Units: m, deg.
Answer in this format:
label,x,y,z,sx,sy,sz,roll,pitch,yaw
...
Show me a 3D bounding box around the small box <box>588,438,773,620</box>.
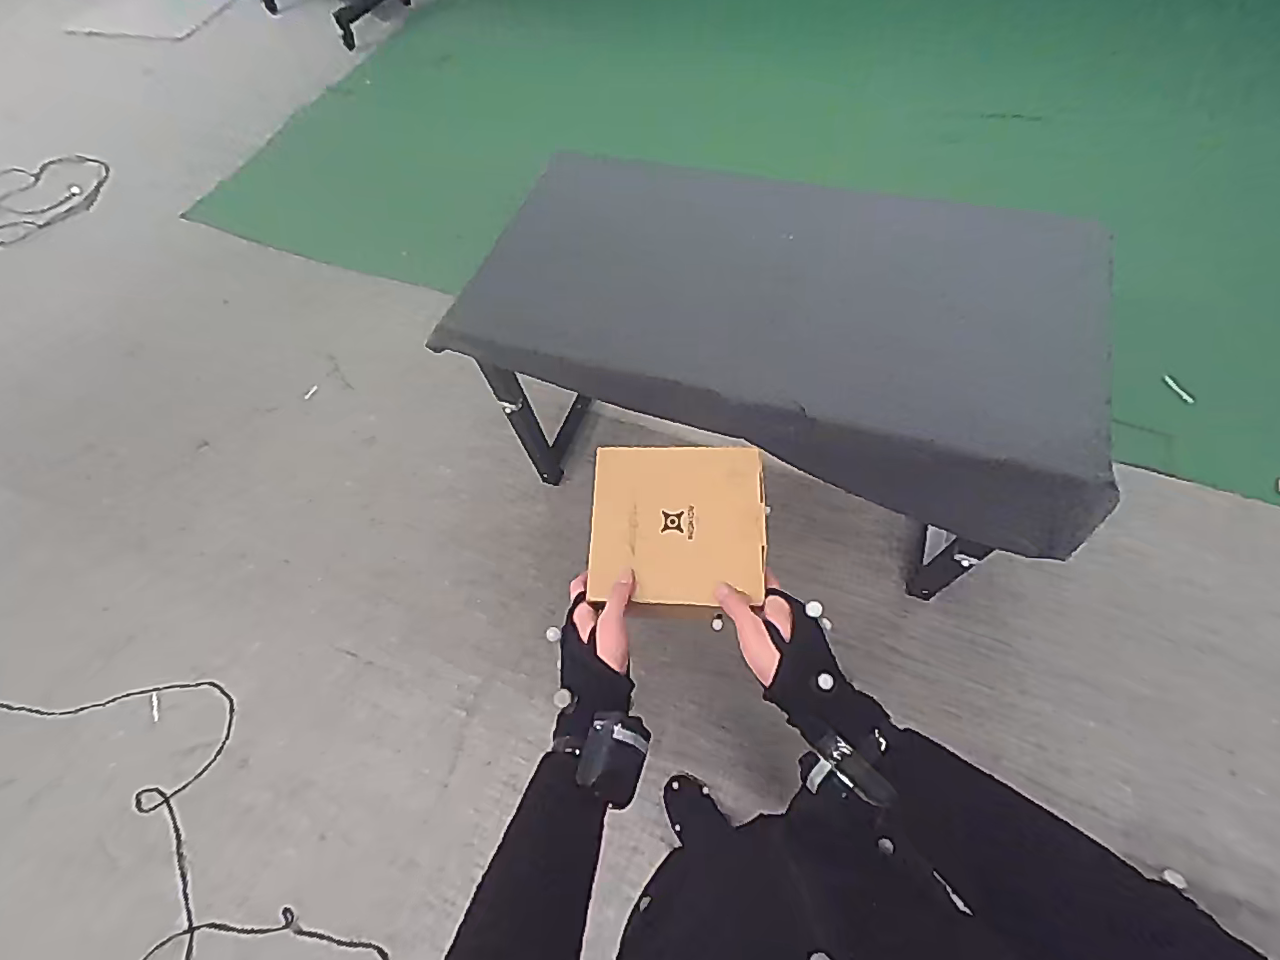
label,x,y,z,sx,sy,sz,roll,pitch,yaw
small box,0.047,0.062,0.609,0.179,0.176,0.168,0,68,7
